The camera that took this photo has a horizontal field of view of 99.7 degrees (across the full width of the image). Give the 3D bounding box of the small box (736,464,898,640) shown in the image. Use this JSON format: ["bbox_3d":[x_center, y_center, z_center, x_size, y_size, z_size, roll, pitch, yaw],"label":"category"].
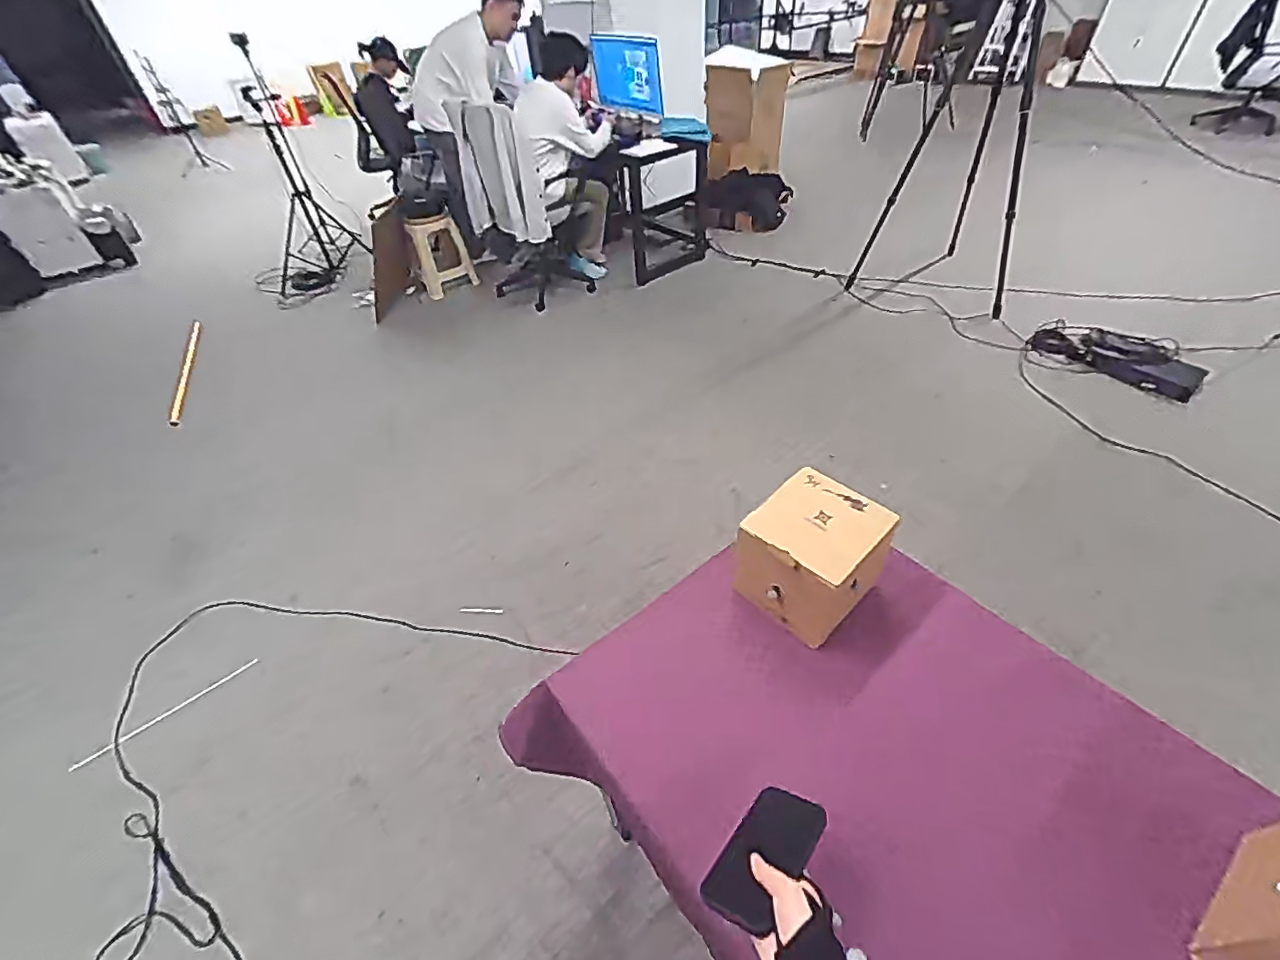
[{"bbox_3d":[0.267,0.114,0.845,0.179,0.176,0.168,-36,53,-27],"label":"small box"}]

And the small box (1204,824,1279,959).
[{"bbox_3d":[0.677,0.425,0.483,0.179,0.176,0.168,-31,49,-23],"label":"small box"}]
